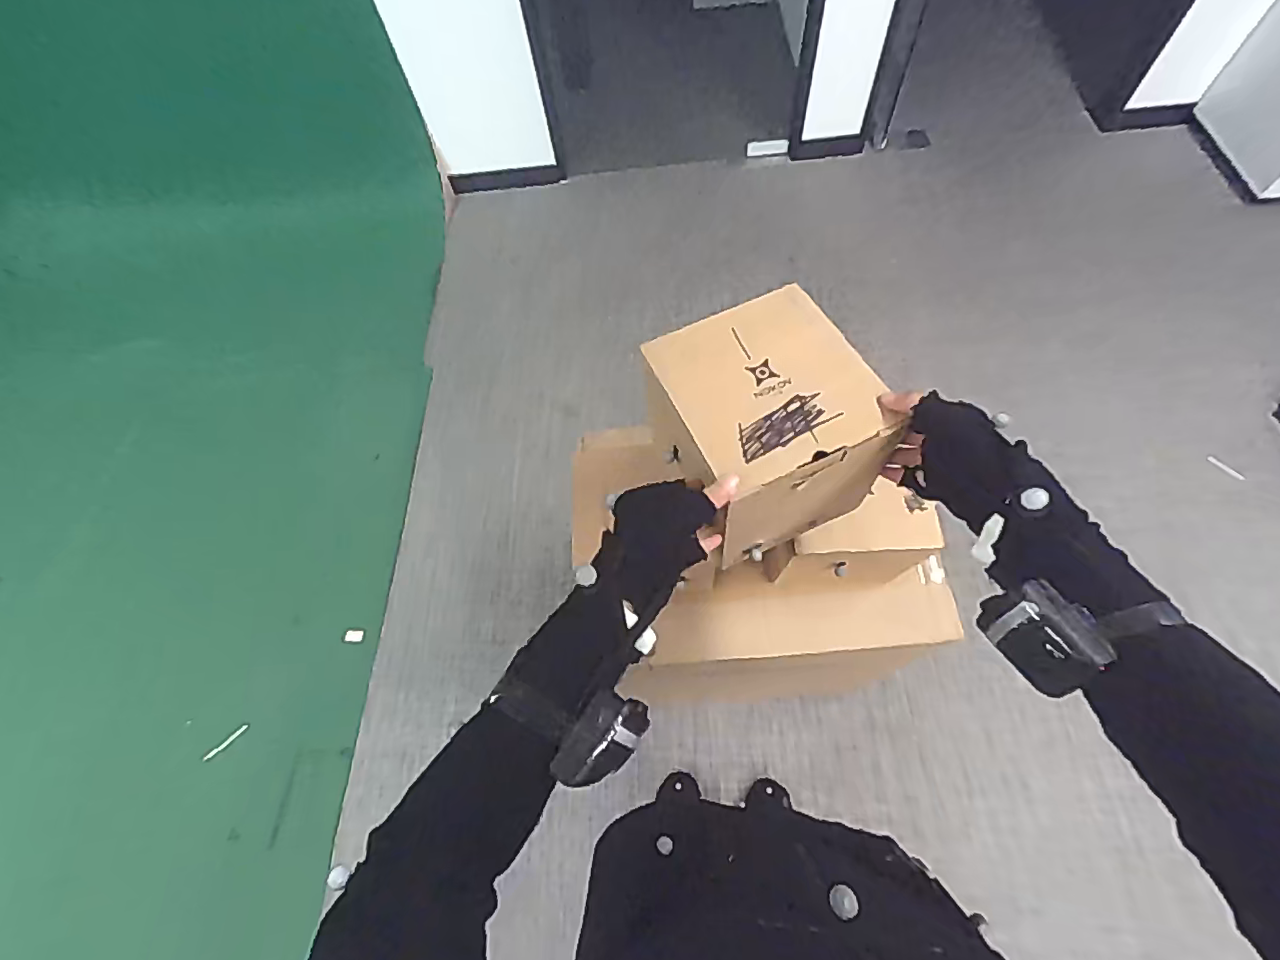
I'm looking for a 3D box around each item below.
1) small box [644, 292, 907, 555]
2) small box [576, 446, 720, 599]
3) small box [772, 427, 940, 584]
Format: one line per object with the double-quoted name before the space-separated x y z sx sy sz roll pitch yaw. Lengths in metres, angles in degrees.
"small box" 0.119 -0.043 0.537 0.168 0.176 0.179 -24 61 -7
"small box" 0.012 0.064 0.757 0.179 0.176 0.168 -6 65 4
"small box" 0.272 0.043 0.743 0.179 0.176 0.168 -4 67 4
